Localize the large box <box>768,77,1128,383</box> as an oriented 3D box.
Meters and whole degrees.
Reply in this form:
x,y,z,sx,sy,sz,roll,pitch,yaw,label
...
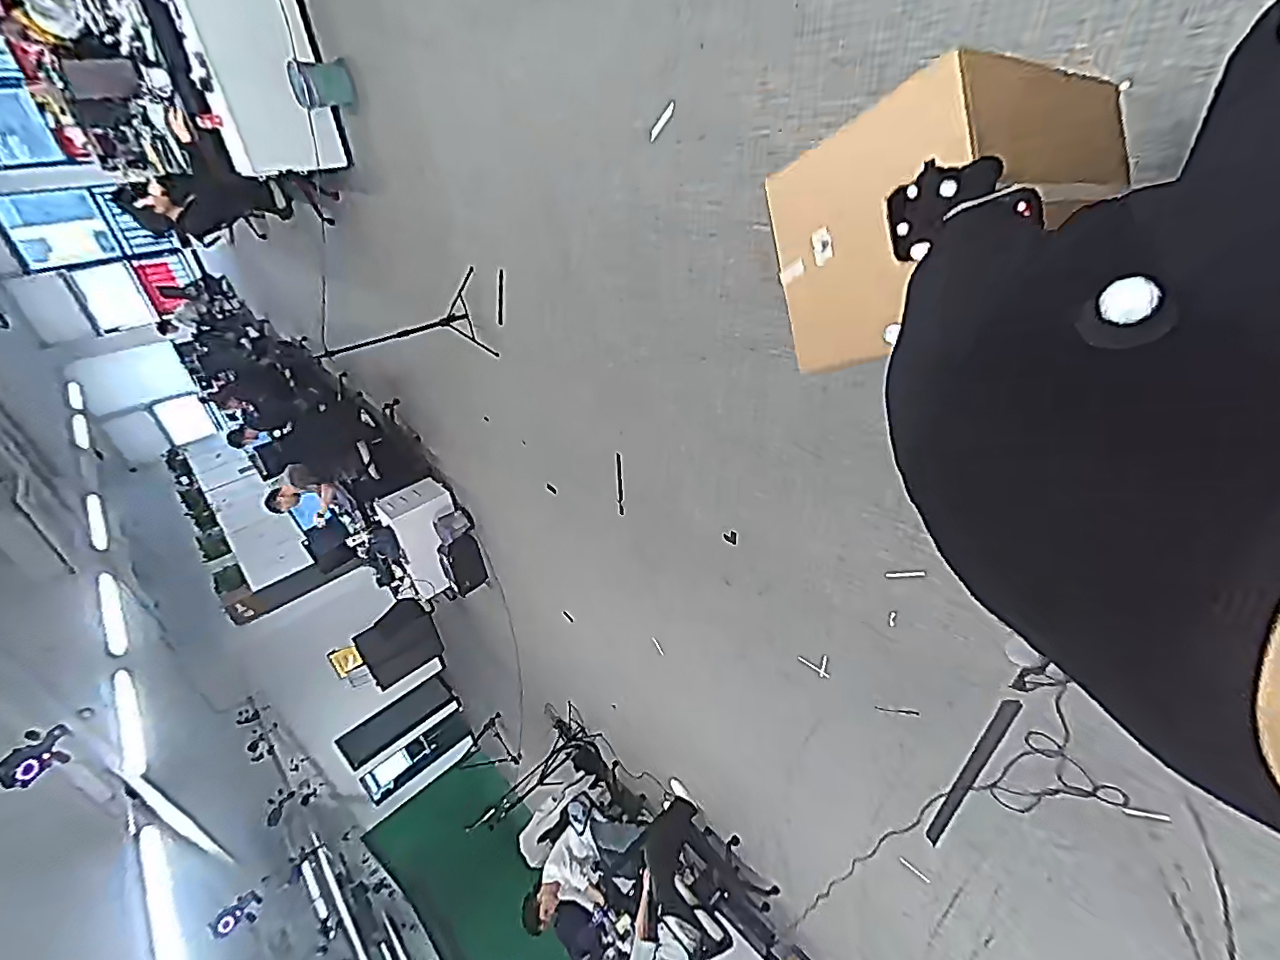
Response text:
x,y,z,sx,sy,sz,roll,pitch,yaw,label
0.477,-0.363,0.857,0.320,0.408,0.320,-2,102,61,large box
